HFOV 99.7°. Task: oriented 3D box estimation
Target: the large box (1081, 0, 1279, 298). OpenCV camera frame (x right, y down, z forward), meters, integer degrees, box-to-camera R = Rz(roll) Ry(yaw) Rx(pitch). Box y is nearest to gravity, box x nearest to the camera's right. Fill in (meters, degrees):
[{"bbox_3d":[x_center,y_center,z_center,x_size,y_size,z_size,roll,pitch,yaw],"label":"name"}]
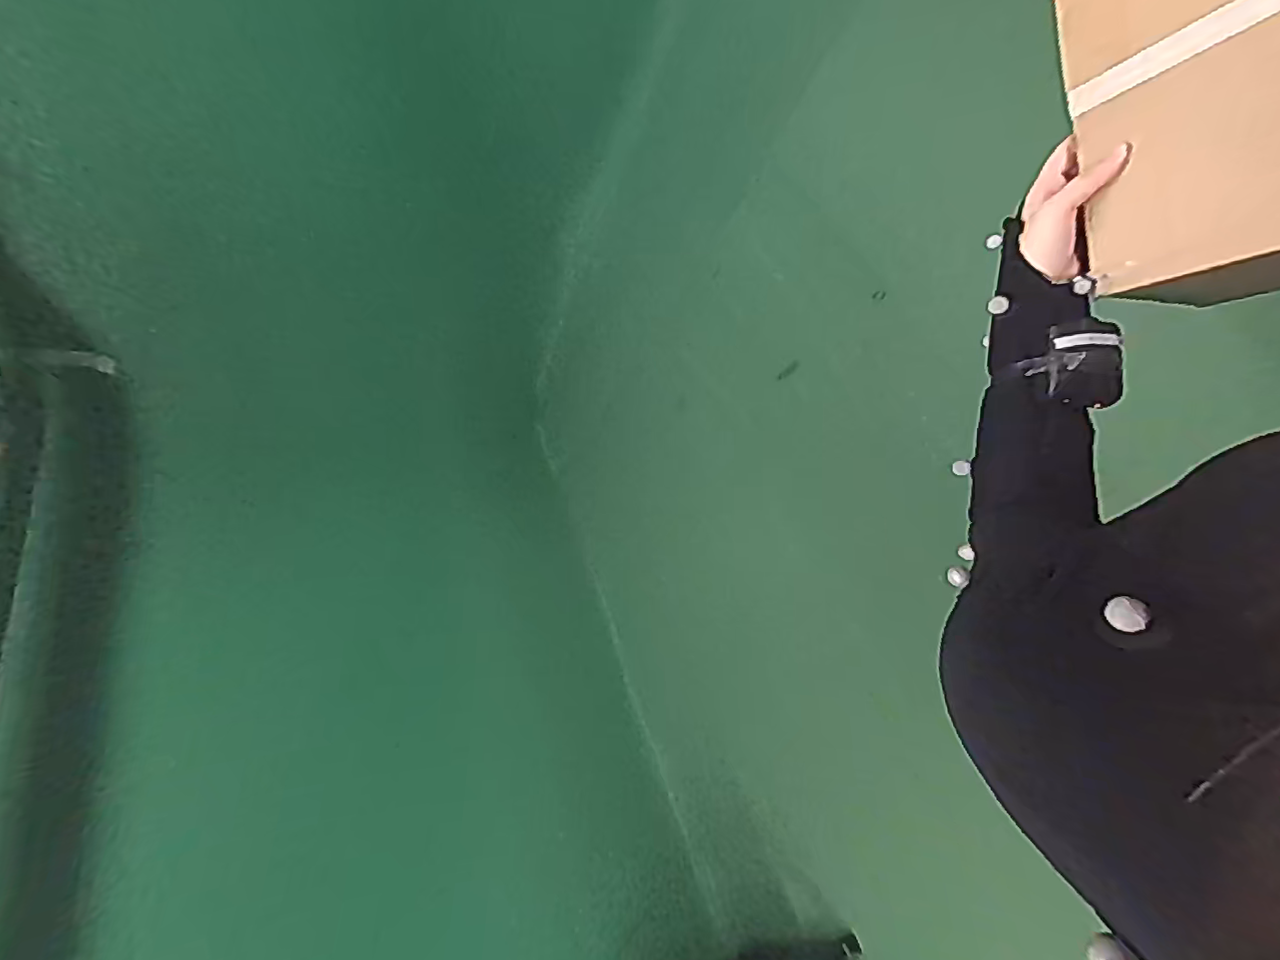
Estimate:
[{"bbox_3d":[0.605,-0.336,0.355,0.408,0.320,0.320,-4,95,59],"label":"large box"}]
